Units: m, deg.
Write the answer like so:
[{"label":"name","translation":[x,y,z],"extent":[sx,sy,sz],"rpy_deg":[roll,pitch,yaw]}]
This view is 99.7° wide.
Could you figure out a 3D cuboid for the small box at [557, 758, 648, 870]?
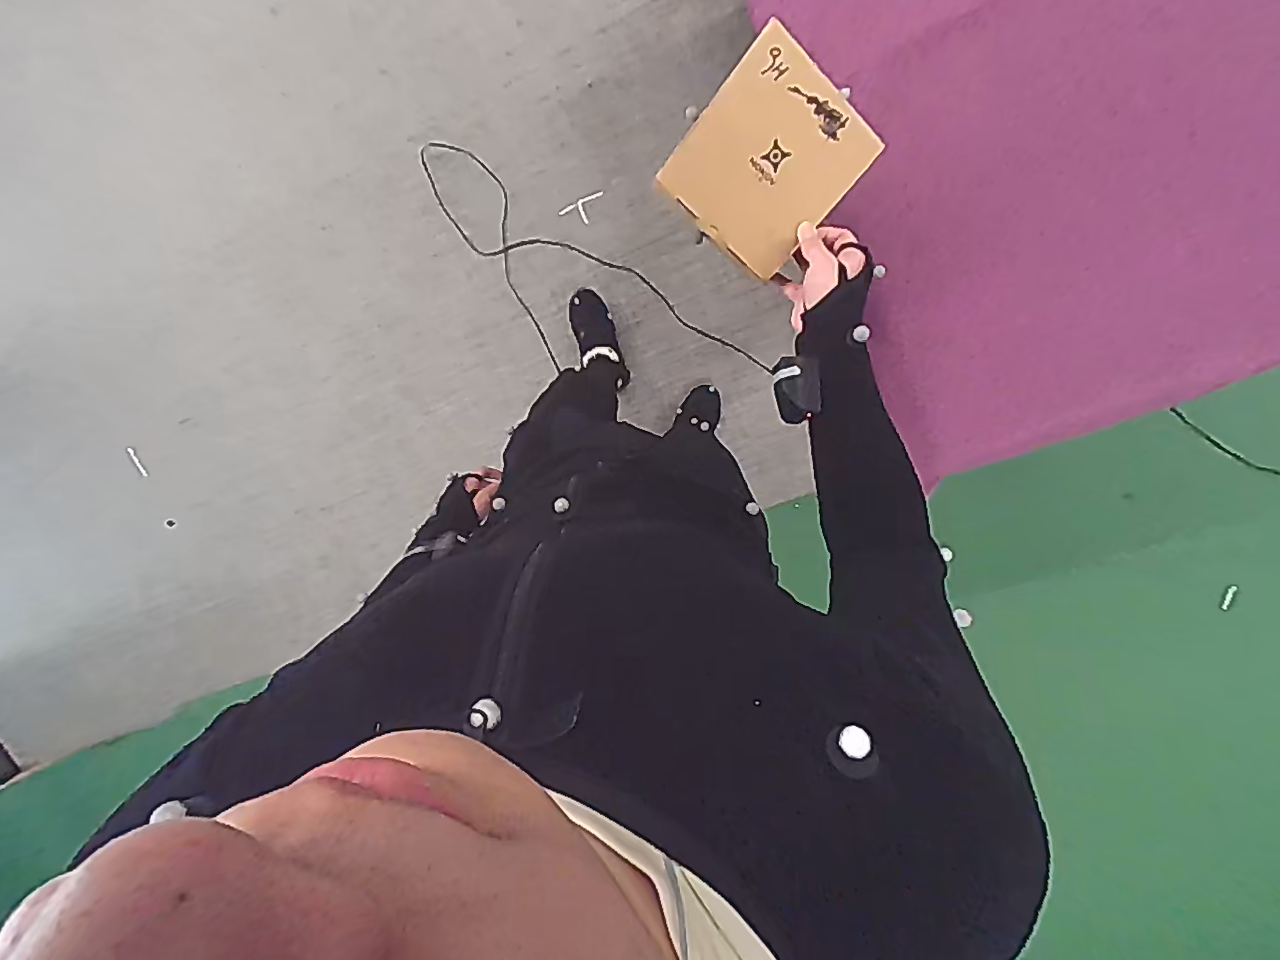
[{"label":"small box","translation":[-0.094,0.901,1.468],"extent":[0.168,0.176,0.179],"rpy_deg":[-27,98,14]}]

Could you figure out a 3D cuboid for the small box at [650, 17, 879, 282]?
[{"label":"small box","translation":[0.129,-0.360,0.622],"extent":[0.168,0.176,0.179],"rpy_deg":[37,111,-17]}]
